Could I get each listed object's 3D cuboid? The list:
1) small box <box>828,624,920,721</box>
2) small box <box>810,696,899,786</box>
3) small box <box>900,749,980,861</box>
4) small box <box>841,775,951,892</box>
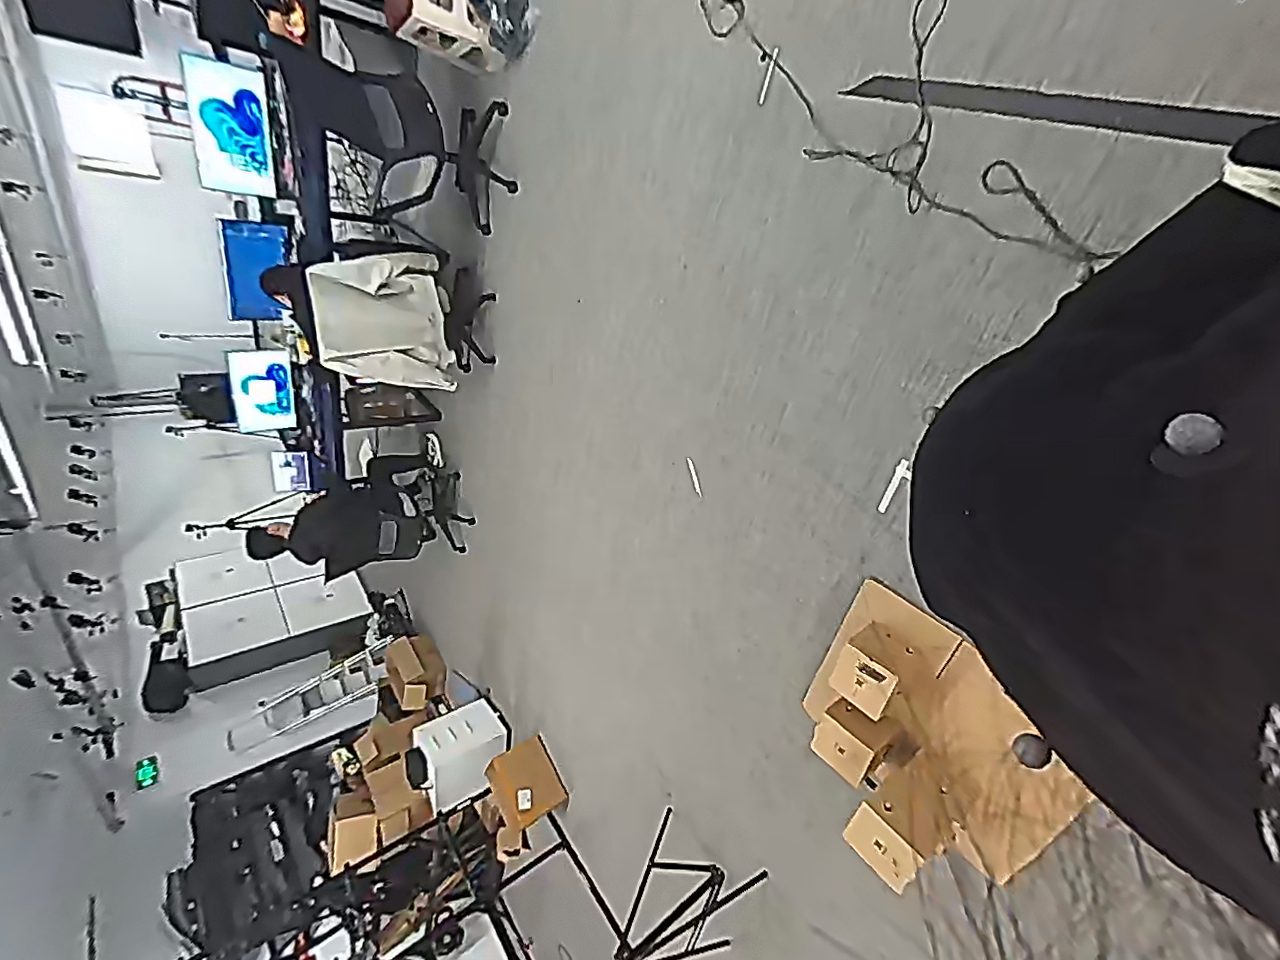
[{"bbox_3d":[0.691,0.555,1.586,0.168,0.176,0.179,34,125,40],"label":"small box"},{"bbox_3d":[0.668,0.796,1.684,0.179,0.176,0.168,33,125,40],"label":"small box"},{"bbox_3d":[0.820,0.908,1.528,0.179,0.176,0.168,33,124,39],"label":"small box"},{"bbox_3d":[0.680,0.925,1.438,0.179,0.176,0.168,38,128,38],"label":"small box"}]
